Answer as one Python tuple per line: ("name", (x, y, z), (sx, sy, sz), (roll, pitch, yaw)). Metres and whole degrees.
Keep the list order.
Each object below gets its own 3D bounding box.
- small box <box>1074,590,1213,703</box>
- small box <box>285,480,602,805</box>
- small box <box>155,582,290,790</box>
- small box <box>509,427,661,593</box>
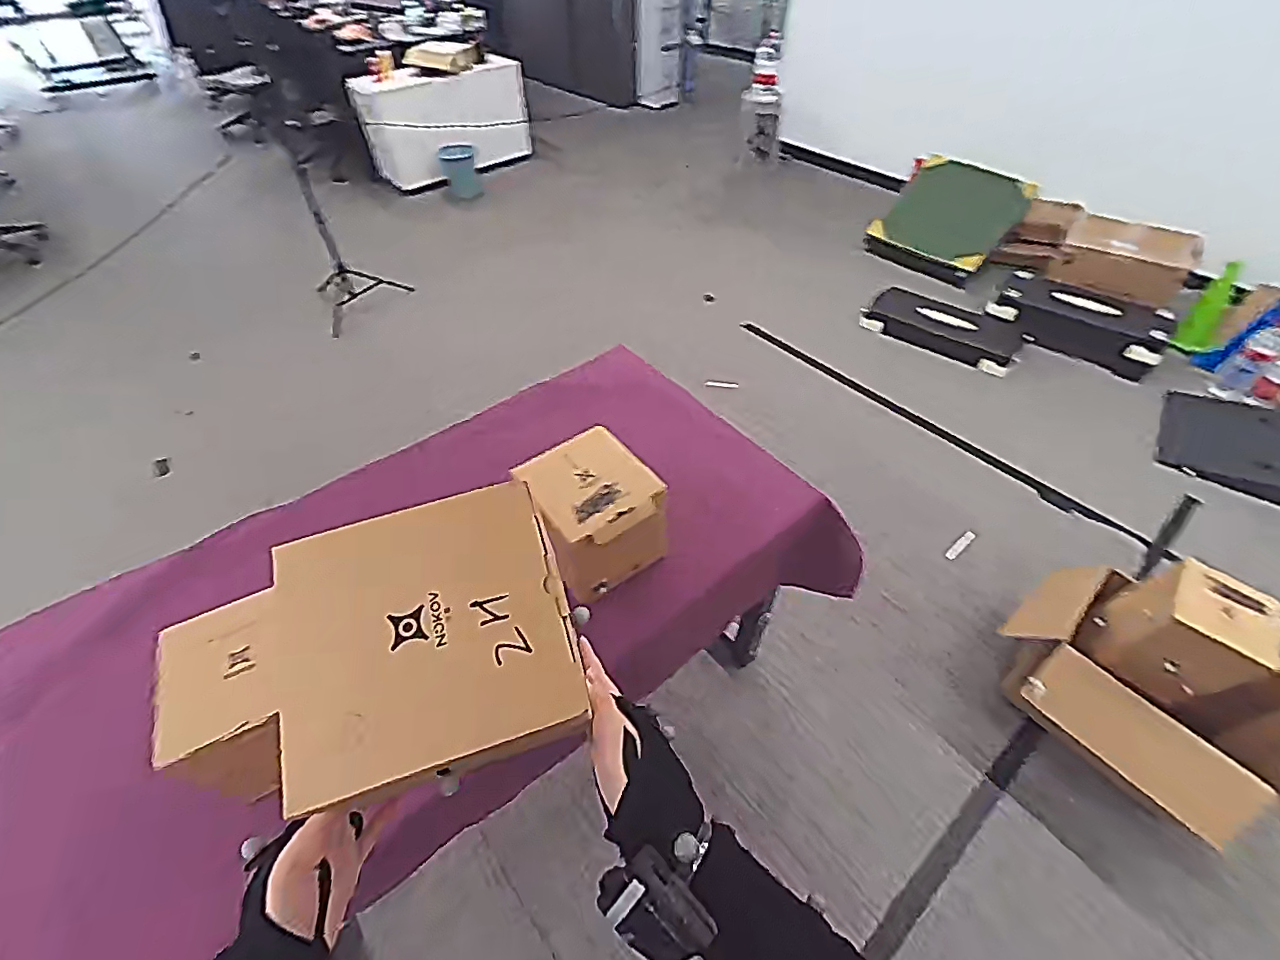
("small box", (1.158, 0.392, 1.261), (0.179, 0.176, 0.168), (24, 56, 16))
("small box", (-0.134, 0.125, 0.414), (0.179, 0.176, 0.168), (-15, 66, -9))
("small box", (-0.459, 0.261, 0.682), (0.168, 0.176, 0.179), (-22, 52, -18))
("small box", (-0.079, 0.054, 0.853), (0.168, 0.176, 0.179), (-30, 54, -23))
